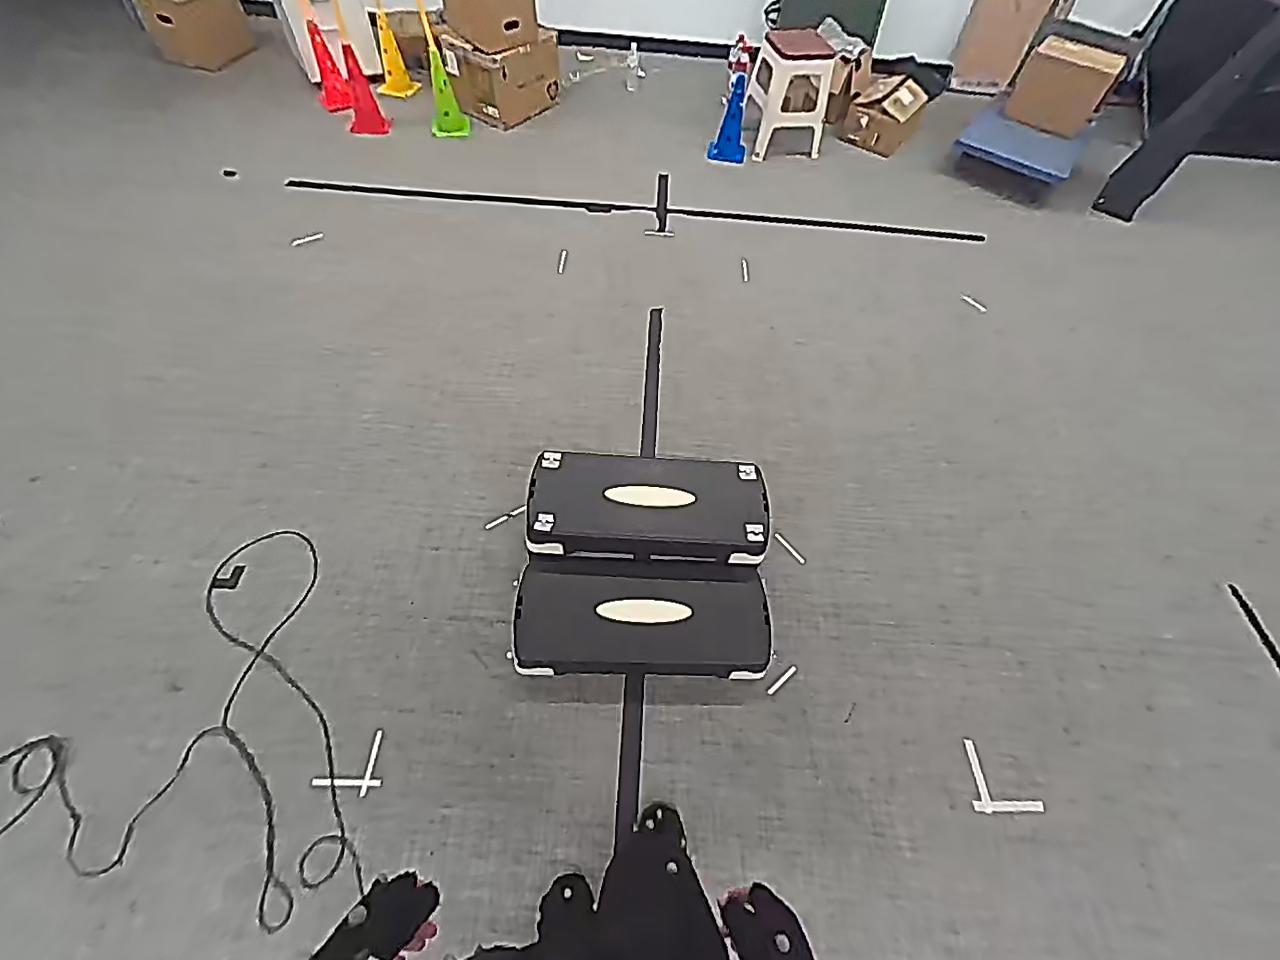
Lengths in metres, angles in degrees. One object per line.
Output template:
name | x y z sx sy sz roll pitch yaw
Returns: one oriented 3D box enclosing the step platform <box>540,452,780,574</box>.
step platform | 0.055 0.095 1.572 0.684 0.204 0.286 3 56 -3
